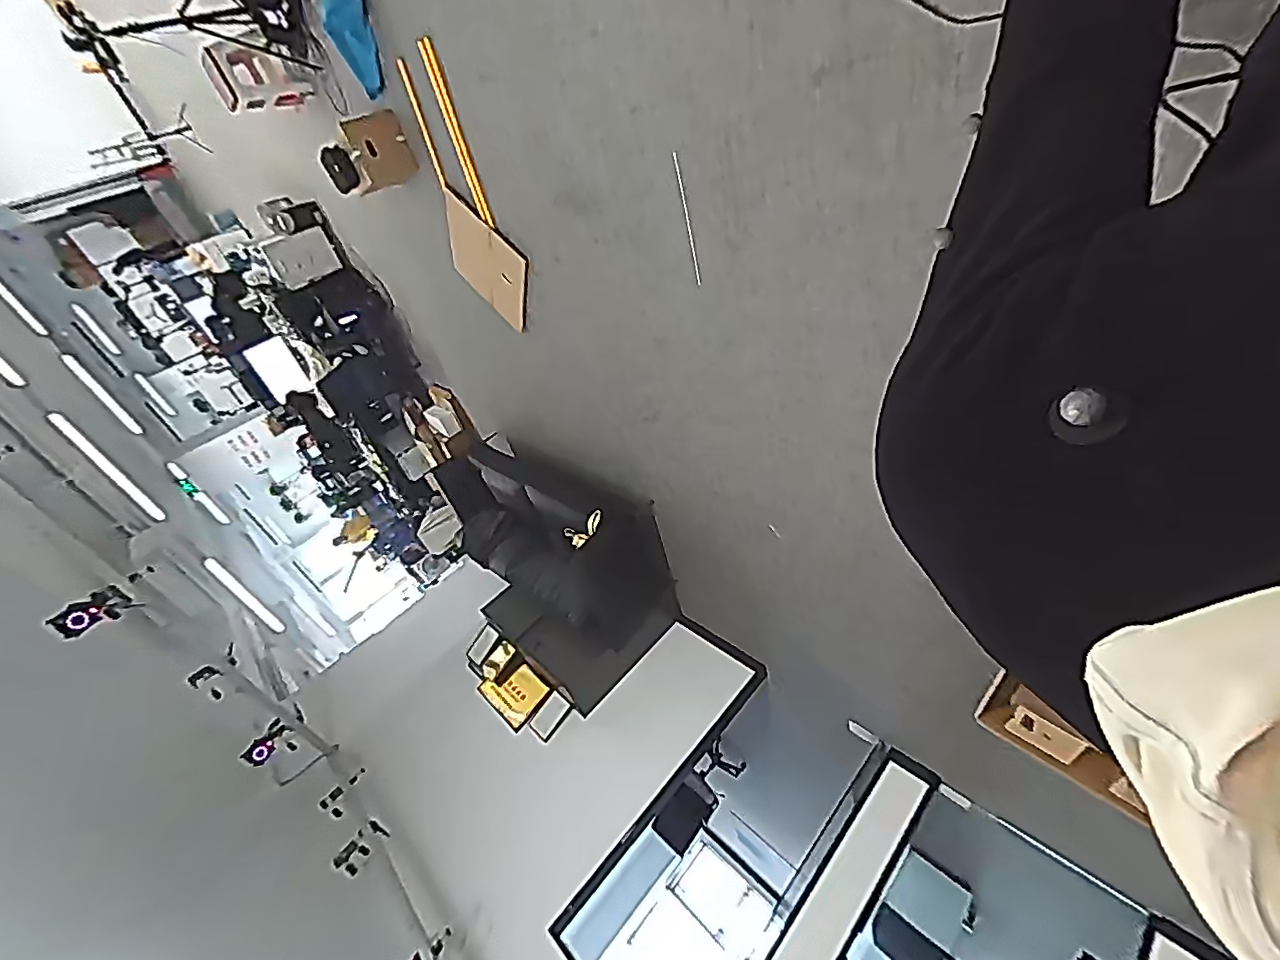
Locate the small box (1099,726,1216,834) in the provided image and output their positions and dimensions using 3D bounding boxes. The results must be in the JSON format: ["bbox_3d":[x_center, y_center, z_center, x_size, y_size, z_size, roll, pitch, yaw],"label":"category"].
[{"bbox_3d":[1.424,0.821,1.490,0.179,0.176,0.168,28,146,35],"label":"small box"}]
